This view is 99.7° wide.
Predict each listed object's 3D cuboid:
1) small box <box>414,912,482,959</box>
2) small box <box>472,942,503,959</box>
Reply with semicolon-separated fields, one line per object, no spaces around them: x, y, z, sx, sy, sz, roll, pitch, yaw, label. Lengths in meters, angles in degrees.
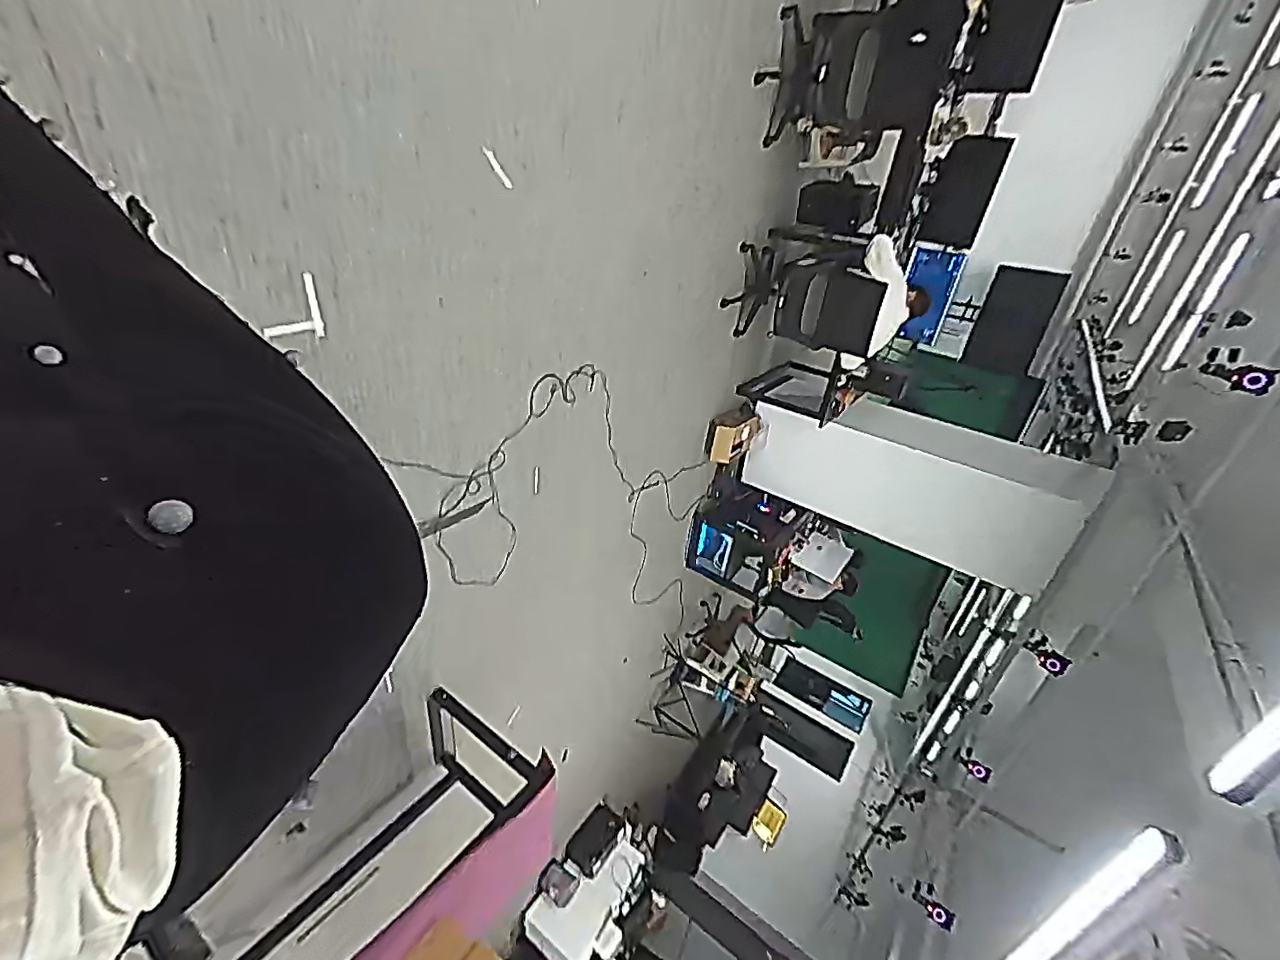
-0.668;1.673;1.878;0.179;0.176;0.168;-33;139;-45;small box
-0.524;1.717;1.812;0.179;0.176;0.168;-33;139;-45;small box
